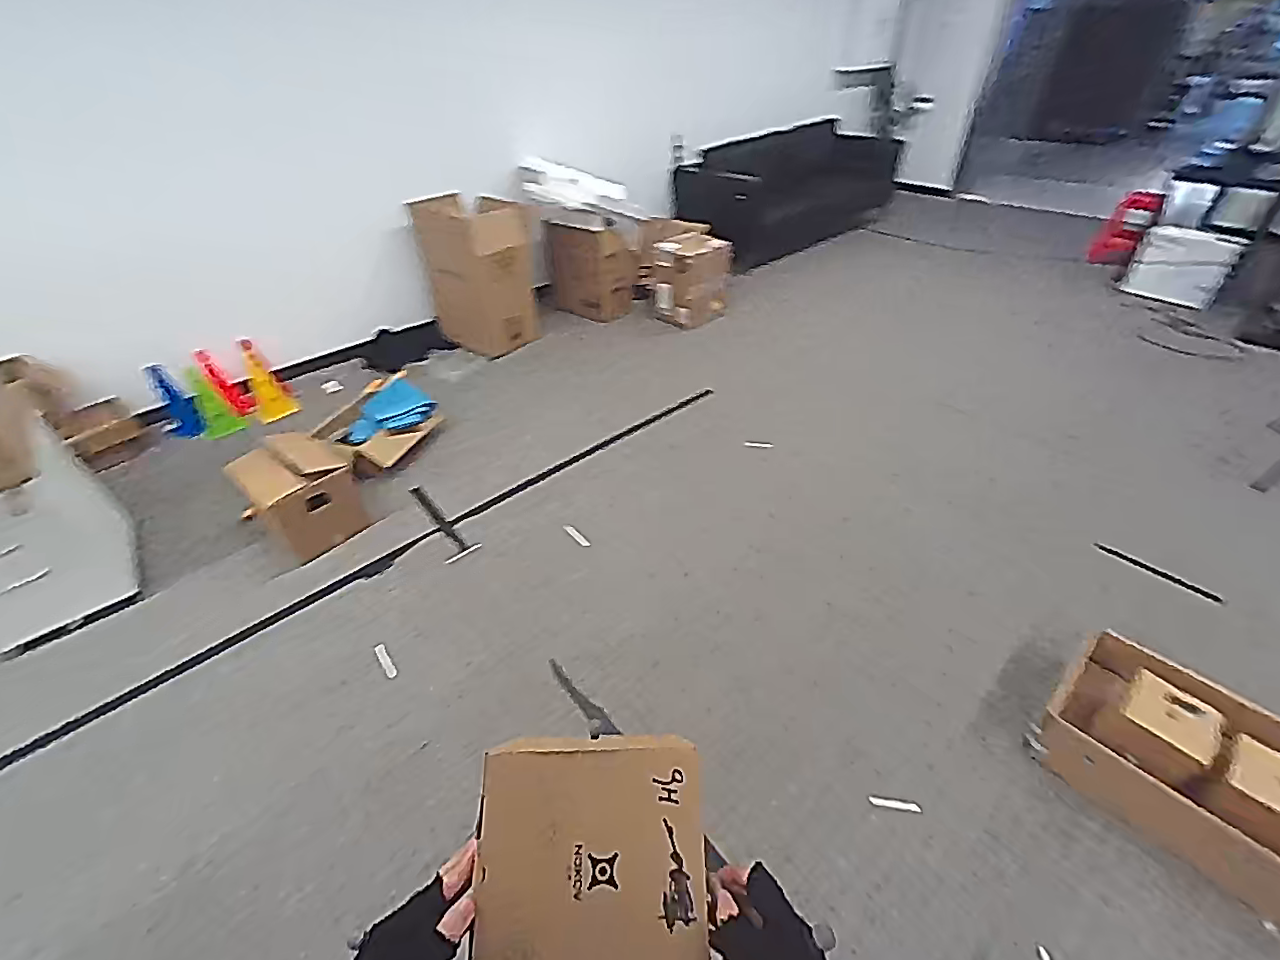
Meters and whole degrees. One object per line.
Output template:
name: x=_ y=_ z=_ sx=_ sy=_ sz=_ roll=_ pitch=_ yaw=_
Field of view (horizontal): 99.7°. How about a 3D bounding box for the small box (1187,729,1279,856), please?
small box: x=1.441 y=0.729 z=1.252 sx=0.168 sy=0.176 sz=0.179 roll=-31 pitch=45 yaw=-30
